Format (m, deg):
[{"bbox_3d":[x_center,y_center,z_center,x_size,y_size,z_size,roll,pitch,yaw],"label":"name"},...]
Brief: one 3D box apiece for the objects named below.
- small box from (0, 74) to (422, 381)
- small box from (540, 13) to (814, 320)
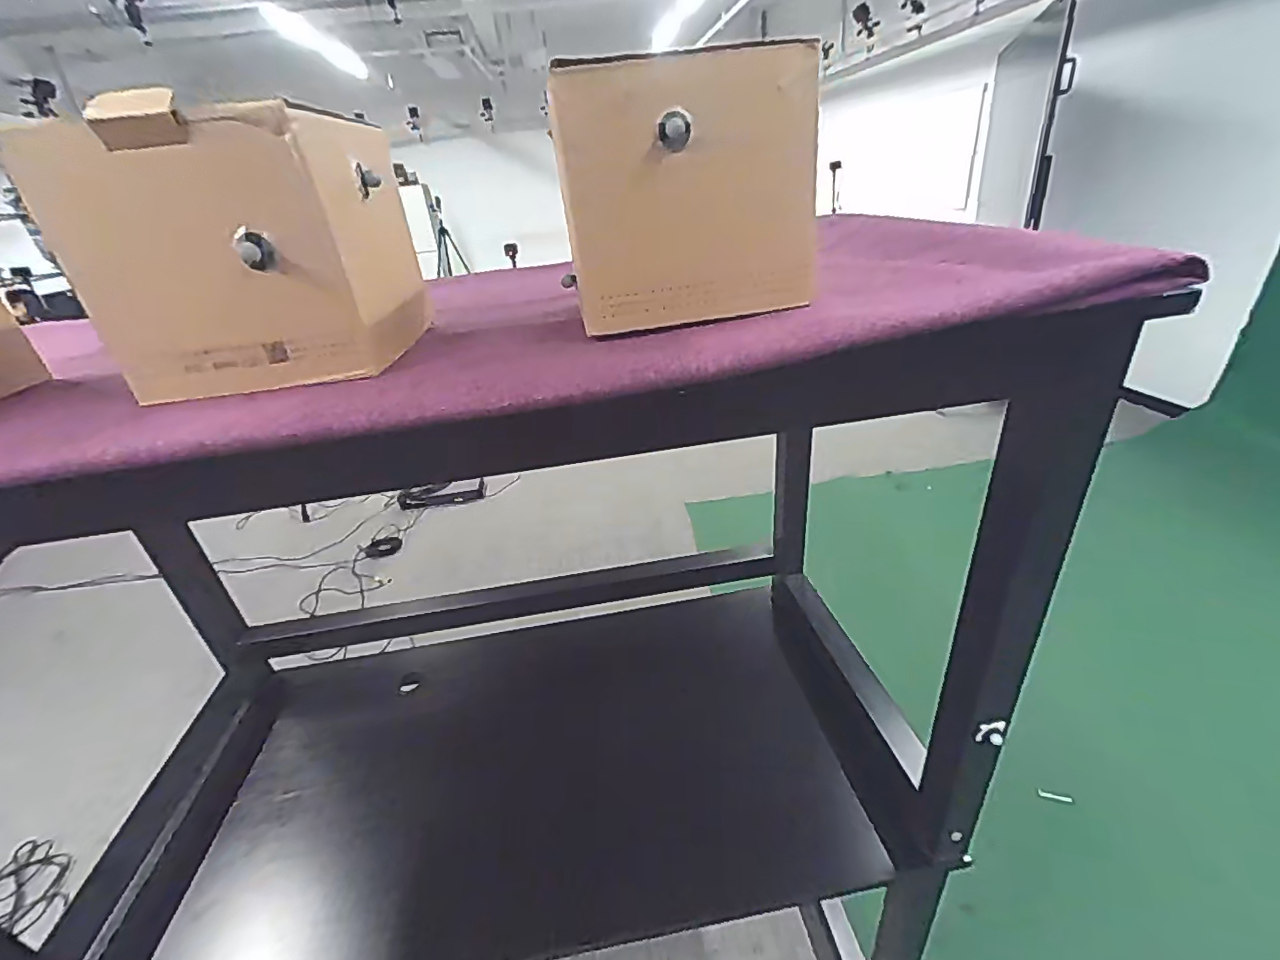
[{"bbox_3d":[-0.281,-0.177,0.403,0.168,0.176,0.179,-7,28,-3],"label":"small box"},{"bbox_3d":[0.025,-0.232,0.433,0.179,0.176,0.168,-9,27,-5],"label":"small box"}]
